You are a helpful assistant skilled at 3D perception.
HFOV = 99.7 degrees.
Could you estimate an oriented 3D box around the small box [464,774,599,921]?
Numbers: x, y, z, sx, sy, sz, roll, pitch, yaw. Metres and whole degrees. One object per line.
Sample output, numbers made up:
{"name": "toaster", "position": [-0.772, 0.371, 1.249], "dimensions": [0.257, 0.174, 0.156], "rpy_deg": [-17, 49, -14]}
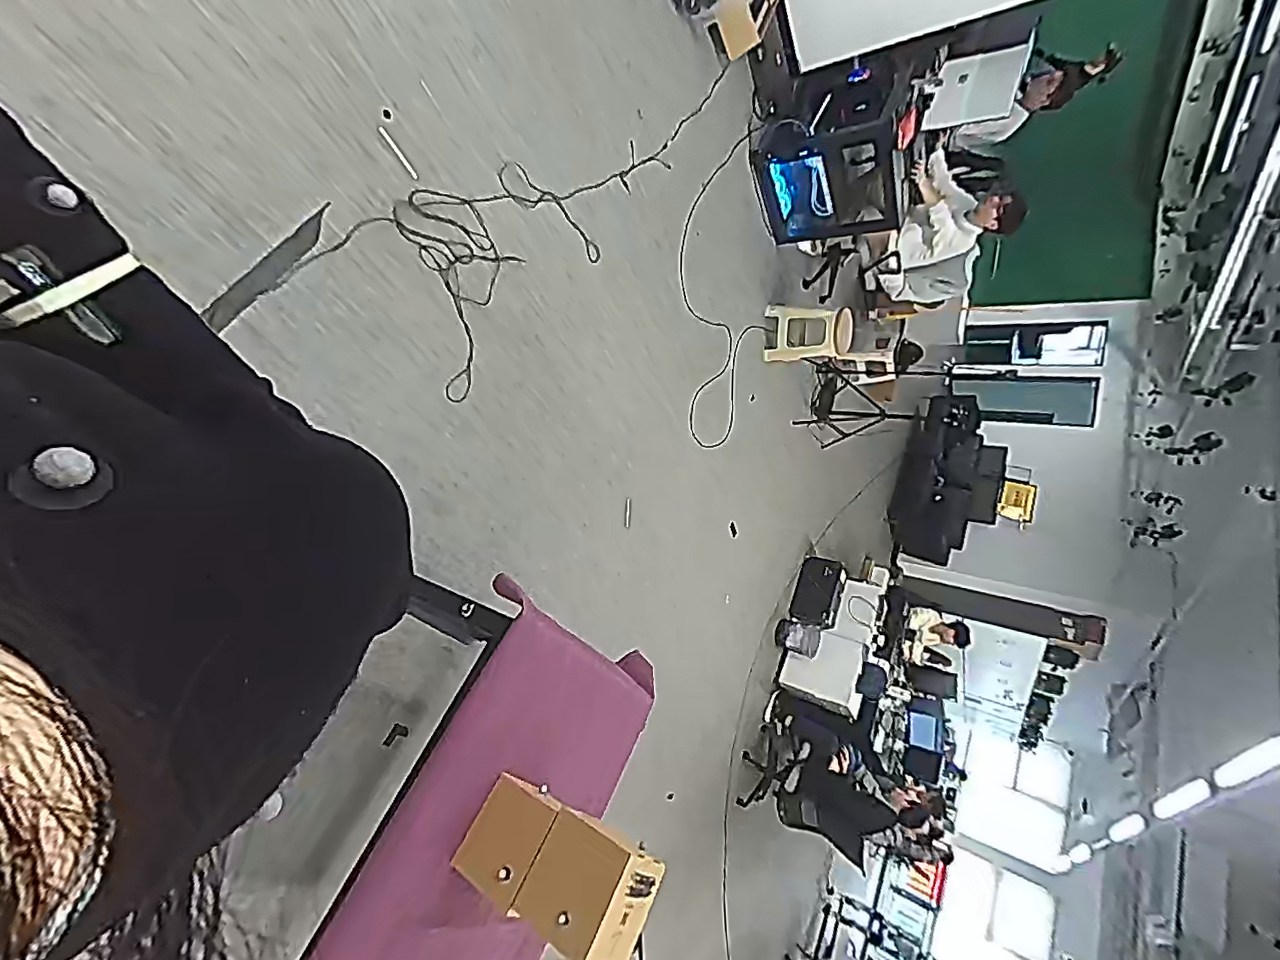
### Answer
{"name": "small box", "position": [-0.220, 0.725, 1.074], "dimensions": [0.179, 0.176, 0.168], "rpy_deg": [-60, 140, -26]}
